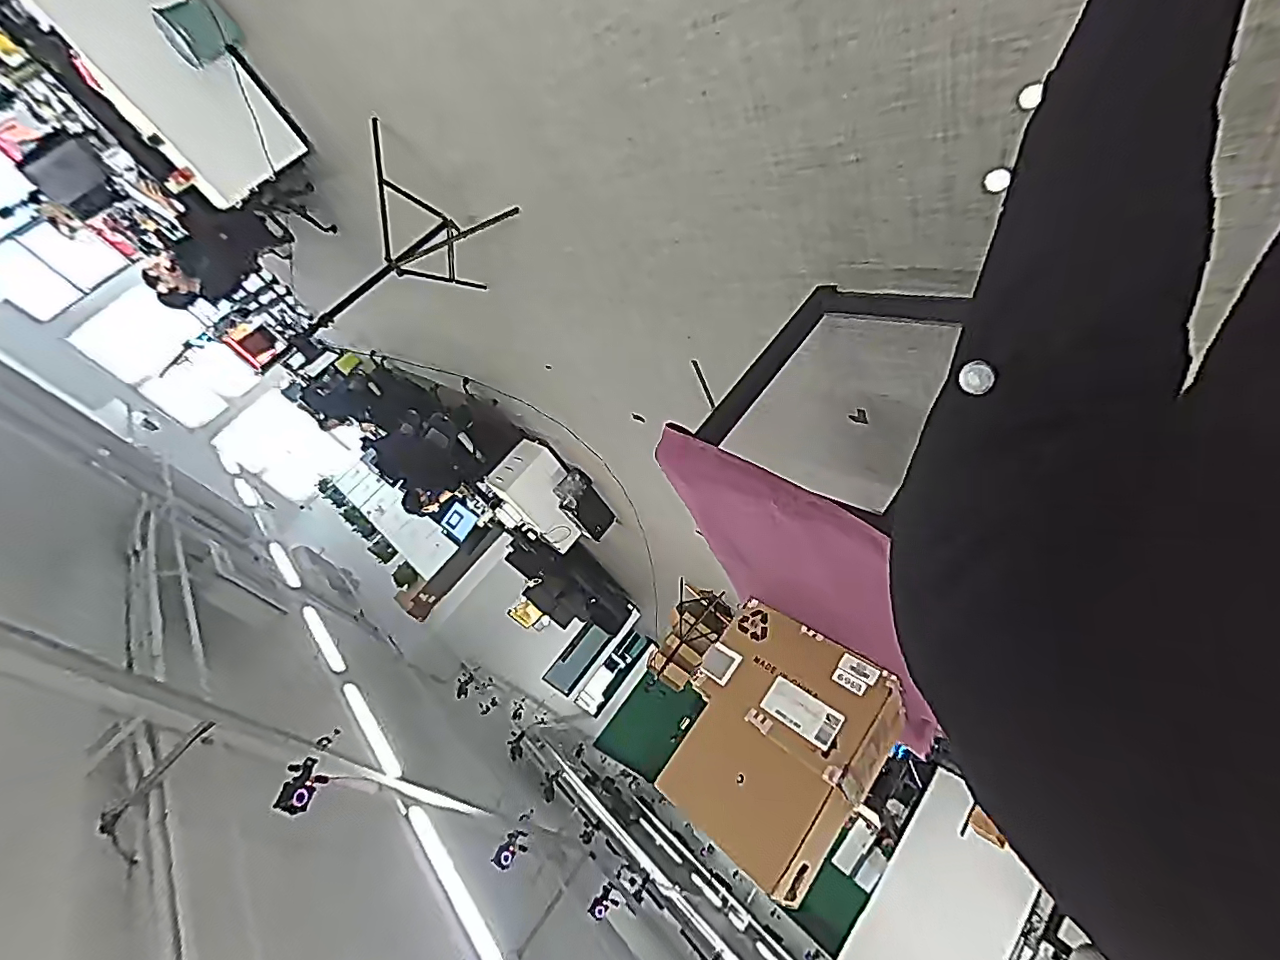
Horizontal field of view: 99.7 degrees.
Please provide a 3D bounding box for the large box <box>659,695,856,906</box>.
[{"bbox_3d":[0.337,0.894,1.541,0.408,0.320,0.320,22,157,44],"label":"large box"}]
